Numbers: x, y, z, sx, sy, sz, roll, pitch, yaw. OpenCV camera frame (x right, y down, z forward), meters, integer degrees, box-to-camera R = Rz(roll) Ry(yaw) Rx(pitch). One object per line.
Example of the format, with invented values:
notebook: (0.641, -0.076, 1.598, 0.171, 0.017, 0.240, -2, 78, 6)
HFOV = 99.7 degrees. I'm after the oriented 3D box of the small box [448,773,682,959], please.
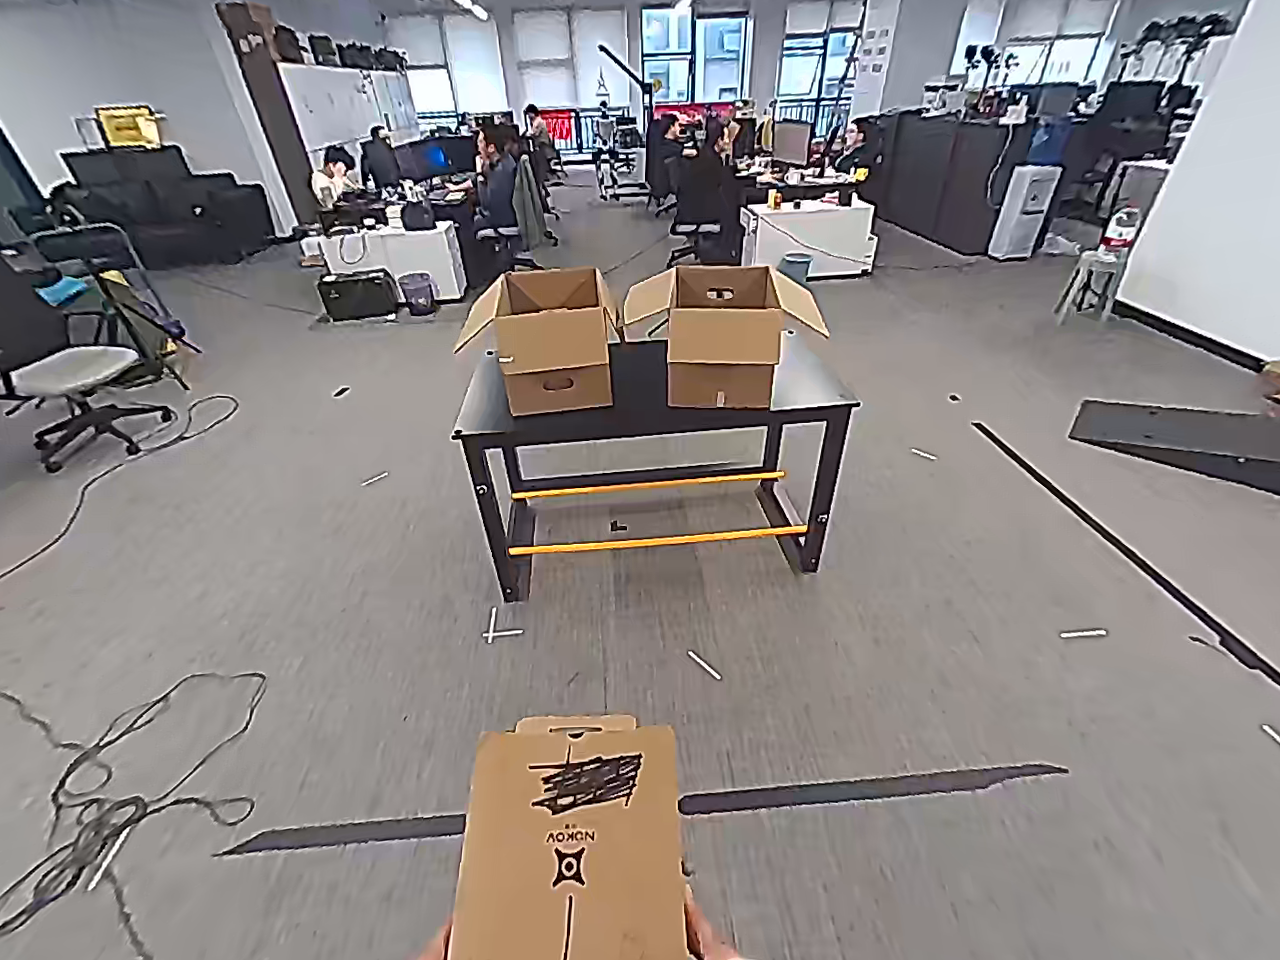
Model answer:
small box: (-0.054, 0.362, 0.455, 0.168, 0.176, 0.179, -1, 51, -1)
